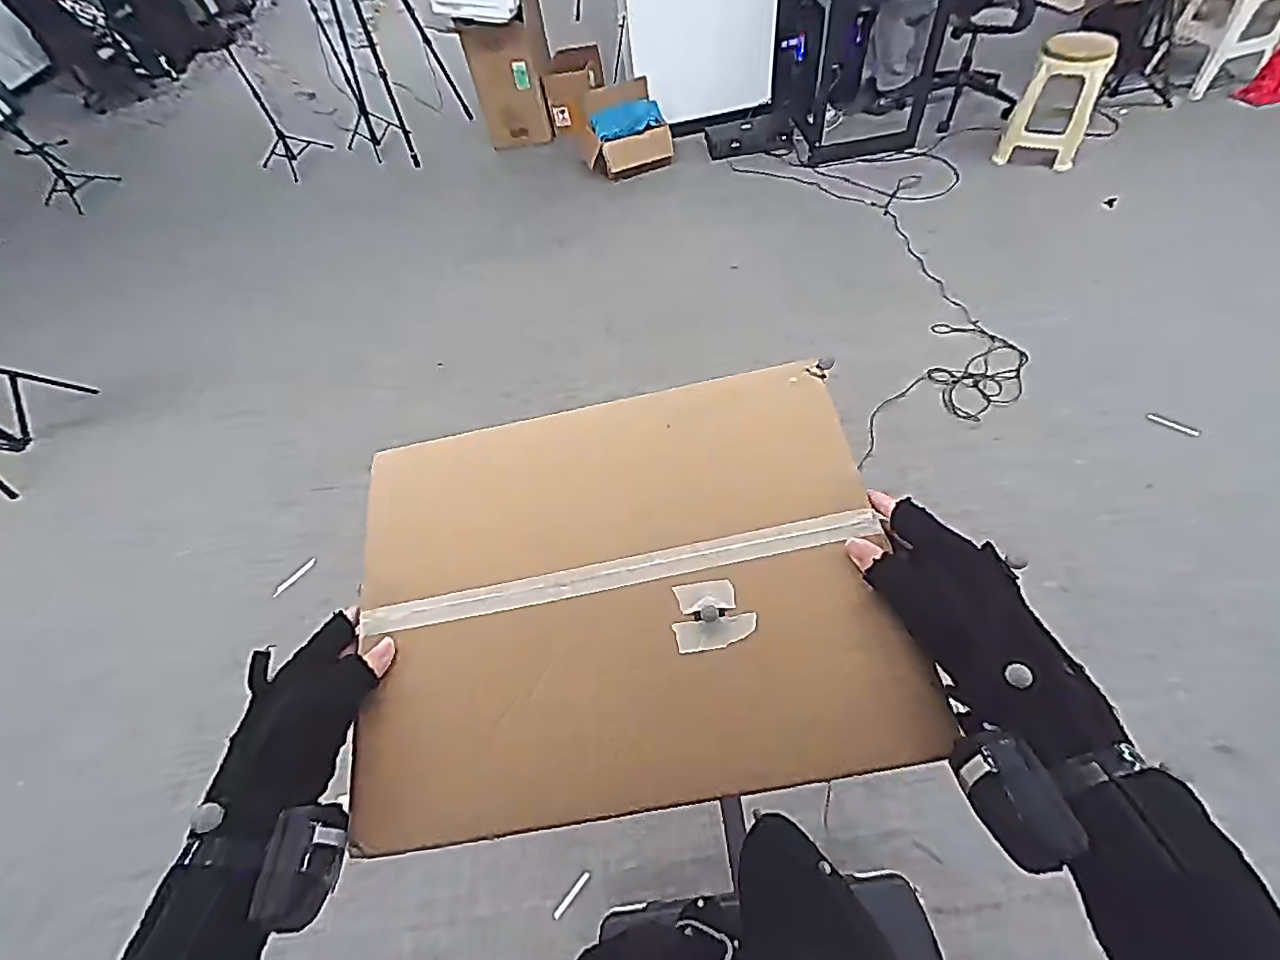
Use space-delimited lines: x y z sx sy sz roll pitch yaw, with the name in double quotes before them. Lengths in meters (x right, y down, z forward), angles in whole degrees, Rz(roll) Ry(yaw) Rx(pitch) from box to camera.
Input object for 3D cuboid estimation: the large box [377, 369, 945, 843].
"large box" 0.005 0.139 0.563 0.408 0.320 0.320 -12 64 3
